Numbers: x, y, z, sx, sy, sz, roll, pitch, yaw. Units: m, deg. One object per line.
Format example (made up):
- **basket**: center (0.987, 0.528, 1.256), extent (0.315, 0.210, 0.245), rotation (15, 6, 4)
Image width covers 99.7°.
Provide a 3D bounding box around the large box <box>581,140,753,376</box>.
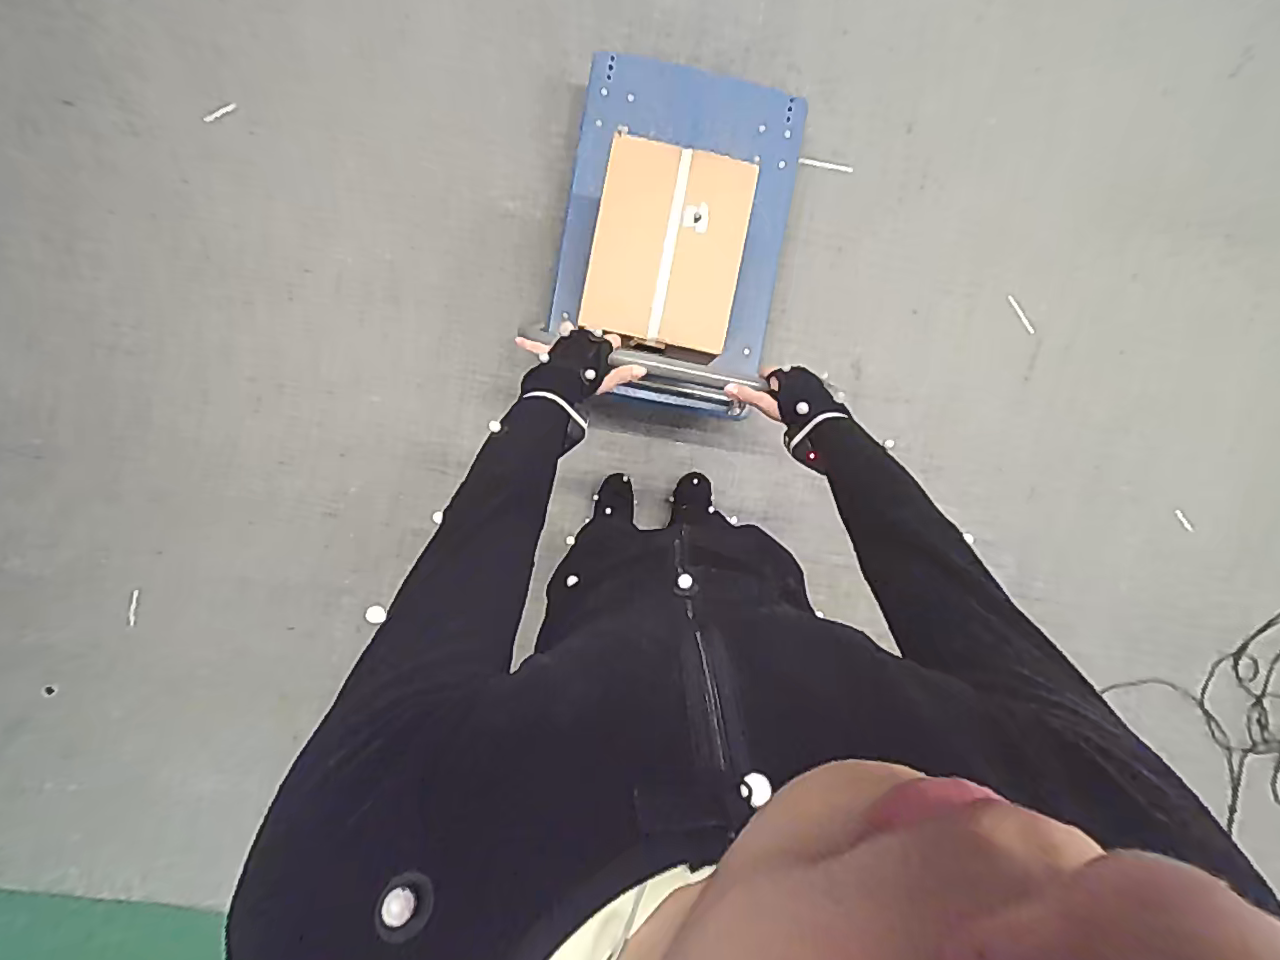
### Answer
- **large box**: center (0.050, -0.490, 1.280), extent (0.320, 0.320, 0.408), rotation (10, 91, -5)
